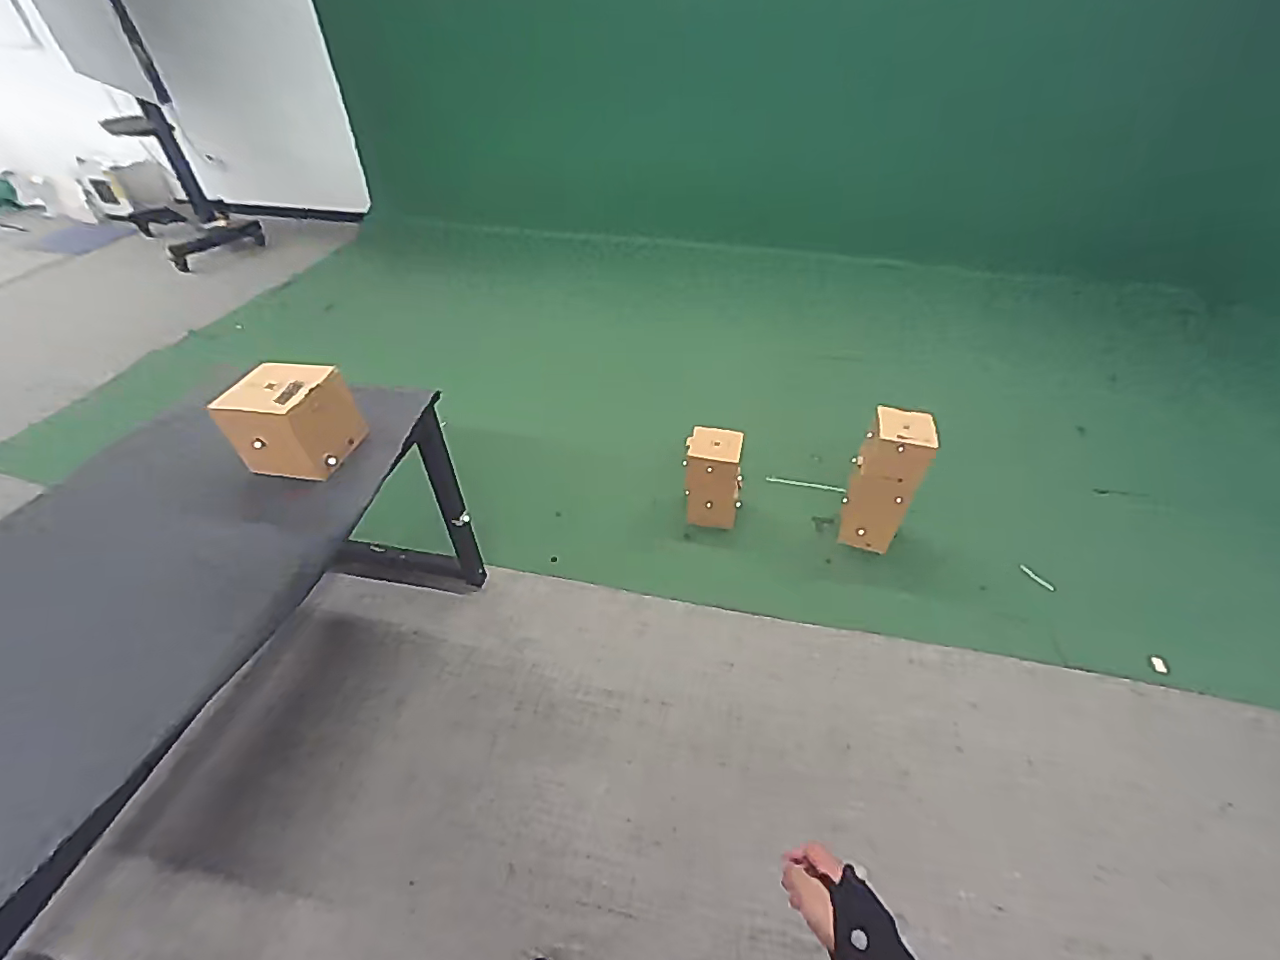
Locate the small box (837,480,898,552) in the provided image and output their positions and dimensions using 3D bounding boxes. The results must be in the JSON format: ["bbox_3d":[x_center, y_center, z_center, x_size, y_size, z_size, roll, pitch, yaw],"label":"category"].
[{"bbox_3d":[0.811,0.132,1.935,0.168,0.176,0.179,14,44,13],"label":"small box"}]

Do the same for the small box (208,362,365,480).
[{"bbox_3d":[-0.699,-0.118,1.097,0.179,0.176,0.168,6,44,10],"label":"small box"}]

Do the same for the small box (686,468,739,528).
[{"bbox_3d":[0.266,0.058,1.999,0.179,0.176,0.168,8,44,7],"label":"small box"}]

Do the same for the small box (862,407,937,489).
[{"bbox_3d":[0.808,-0.102,1.703,0.168,0.176,0.179,12,43,10],"label":"small box"}]

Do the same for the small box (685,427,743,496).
[{"bbox_3d":[0.255,-0.062,1.889,0.179,0.176,0.168,10,45,9],"label":"small box"}]
